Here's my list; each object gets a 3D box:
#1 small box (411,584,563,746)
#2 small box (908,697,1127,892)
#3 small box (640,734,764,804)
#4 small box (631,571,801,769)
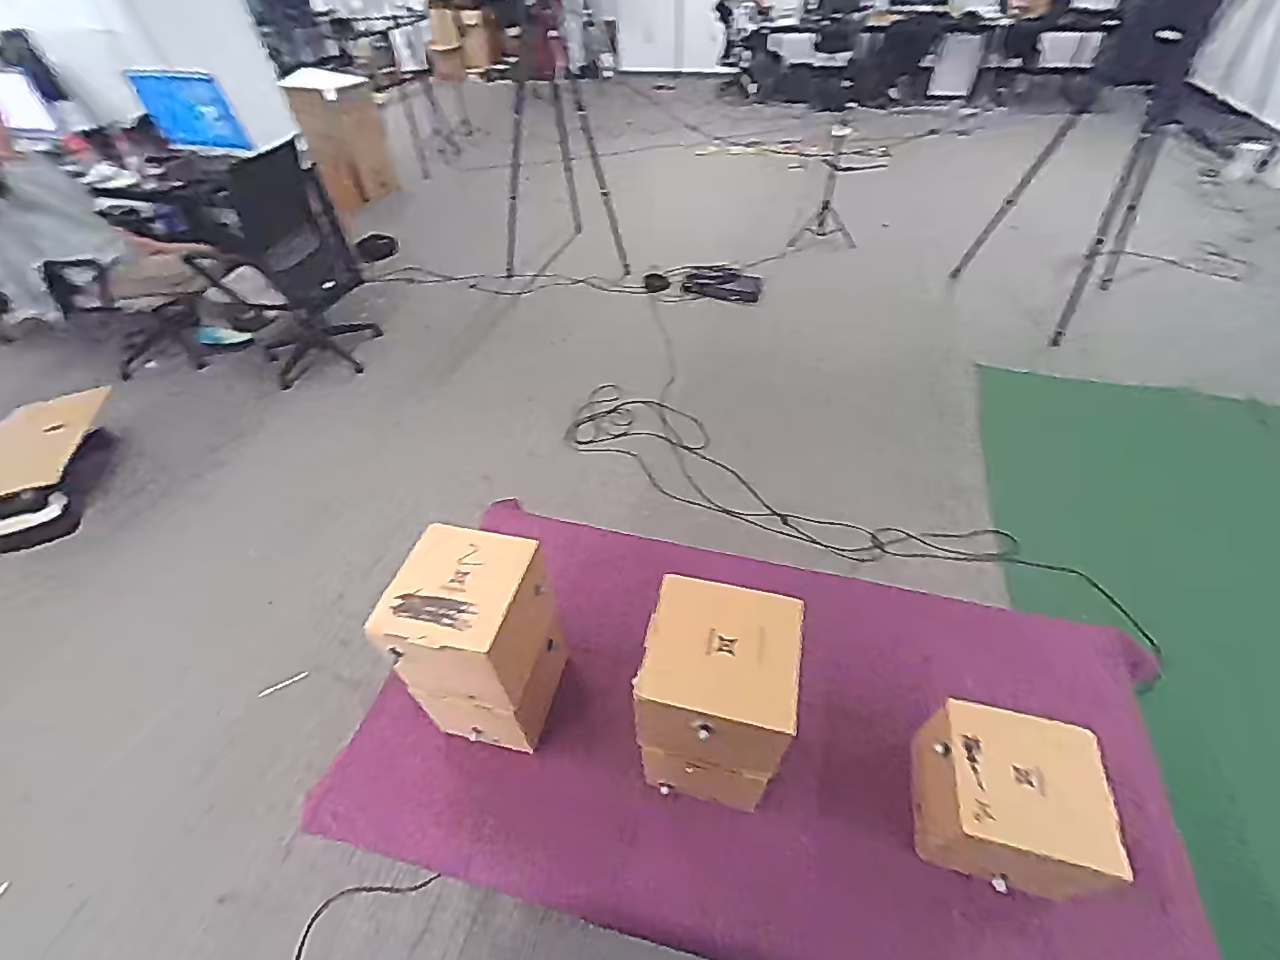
[{"bbox_3d":[-0.231,0.299,0.876,0.168,0.176,0.179,9,47,11],"label":"small box"},{"bbox_3d":[0.479,0.421,0.721,0.179,0.176,0.168,10,47,13],"label":"small box"},{"bbox_3d":[0.104,0.354,0.807,0.168,0.176,0.179,9,47,12],"label":"small box"},{"bbox_3d":[0.097,0.243,0.688,0.179,0.176,0.168,10,48,12],"label":"small box"}]
